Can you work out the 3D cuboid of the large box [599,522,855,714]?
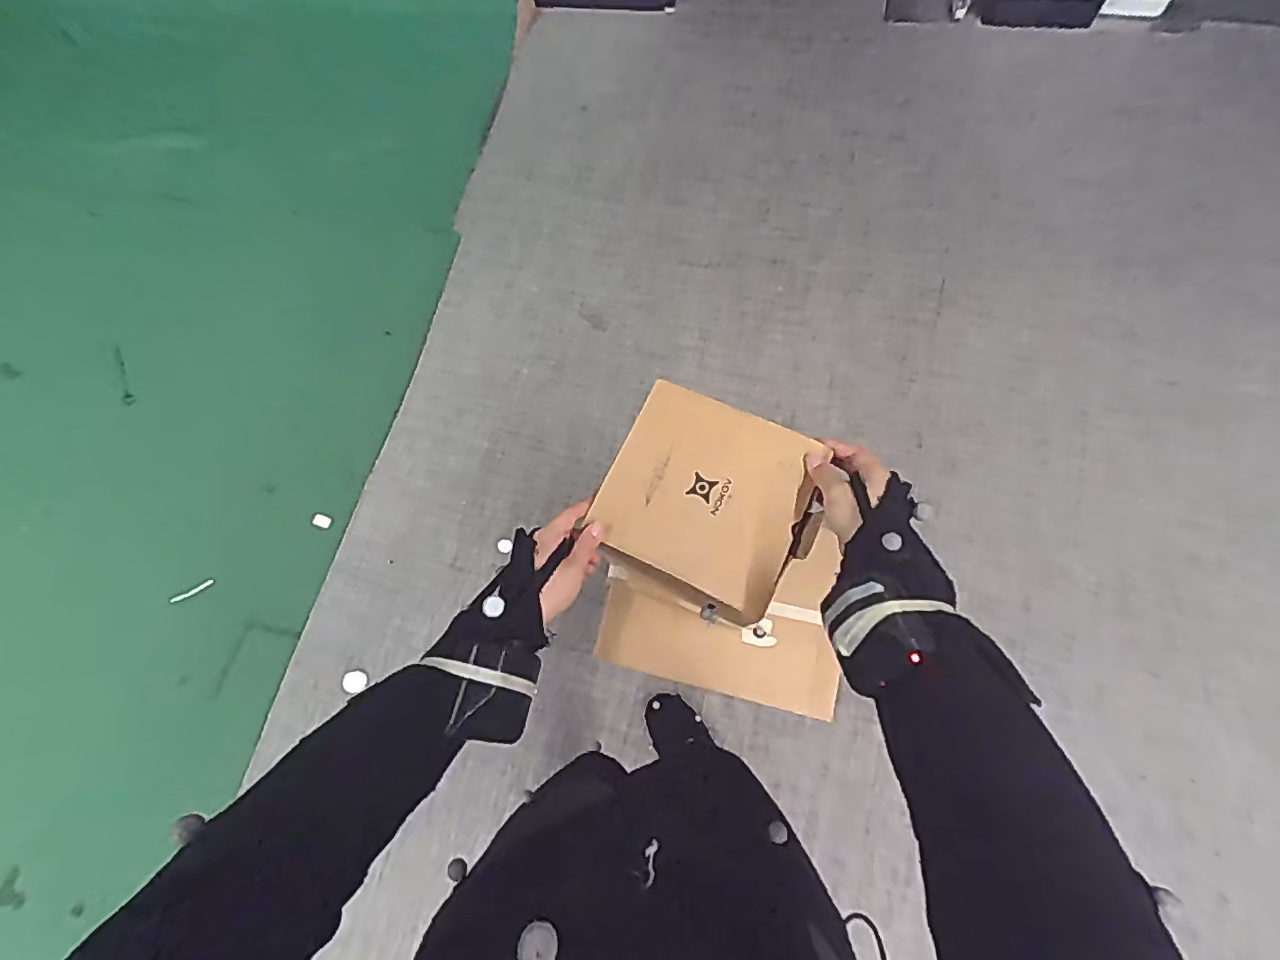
[{"bbox_3d":[0.165,0.242,1.077,0.408,0.320,0.320,11,76,9],"label":"large box"}]

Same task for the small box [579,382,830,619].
[{"bbox_3d":[0.065,0.032,0.555,0.179,0.176,0.168,23,76,13],"label":"small box"}]
